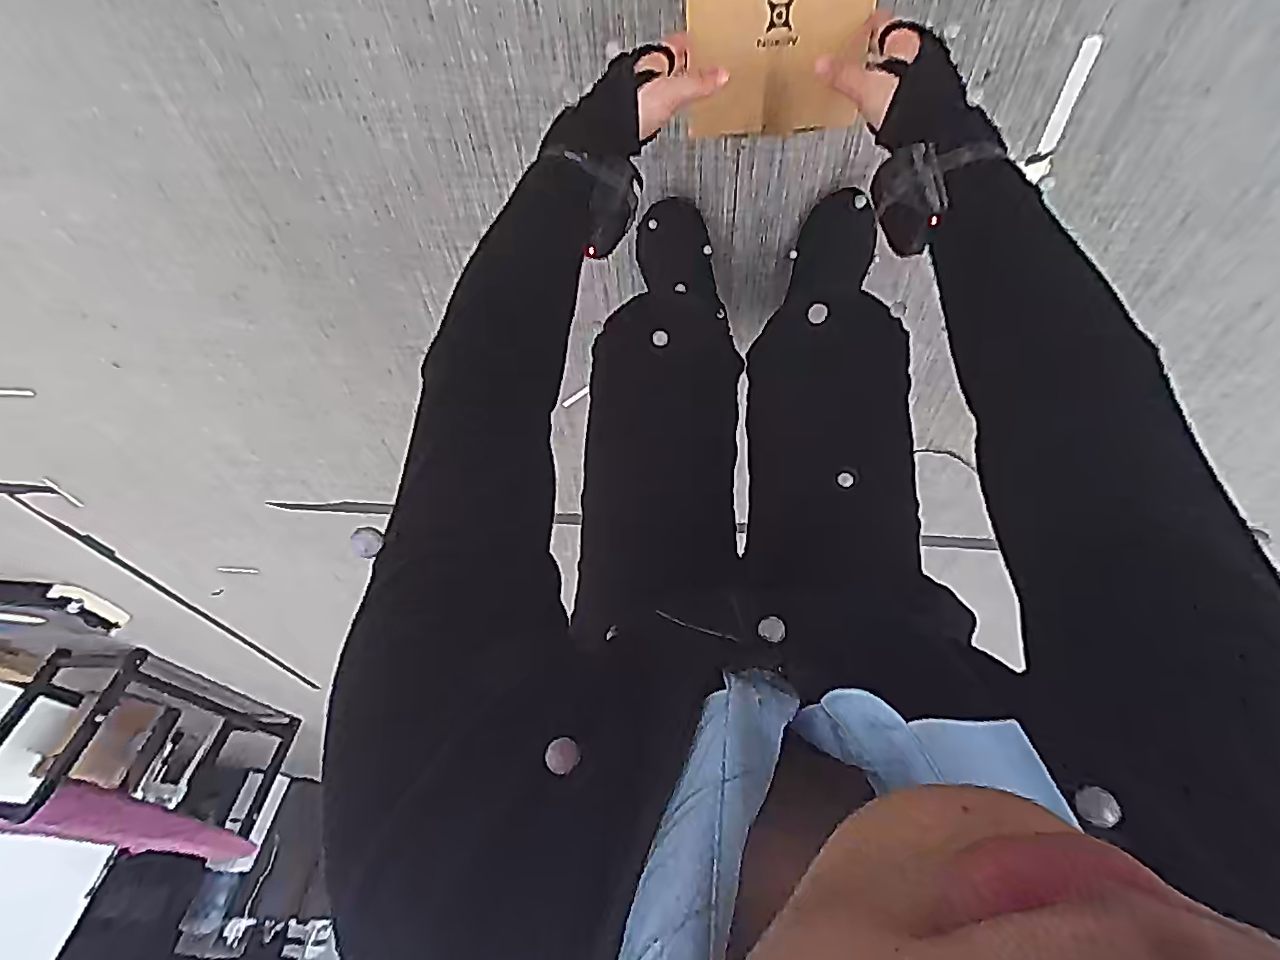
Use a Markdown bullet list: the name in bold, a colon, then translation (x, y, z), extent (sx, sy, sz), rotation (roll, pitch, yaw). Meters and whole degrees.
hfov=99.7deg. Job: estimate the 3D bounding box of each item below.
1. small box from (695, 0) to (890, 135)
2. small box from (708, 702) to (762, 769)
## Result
- **small box**: translation (0.137, -0.462, 0.522), extent (0.168, 0.176, 0.179), rotation (0, 138, 7)
- **small box**: translation (0.327, 0.895, 1.892), extent (0.168, 0.176, 0.179), rotation (3, 140, 3)
